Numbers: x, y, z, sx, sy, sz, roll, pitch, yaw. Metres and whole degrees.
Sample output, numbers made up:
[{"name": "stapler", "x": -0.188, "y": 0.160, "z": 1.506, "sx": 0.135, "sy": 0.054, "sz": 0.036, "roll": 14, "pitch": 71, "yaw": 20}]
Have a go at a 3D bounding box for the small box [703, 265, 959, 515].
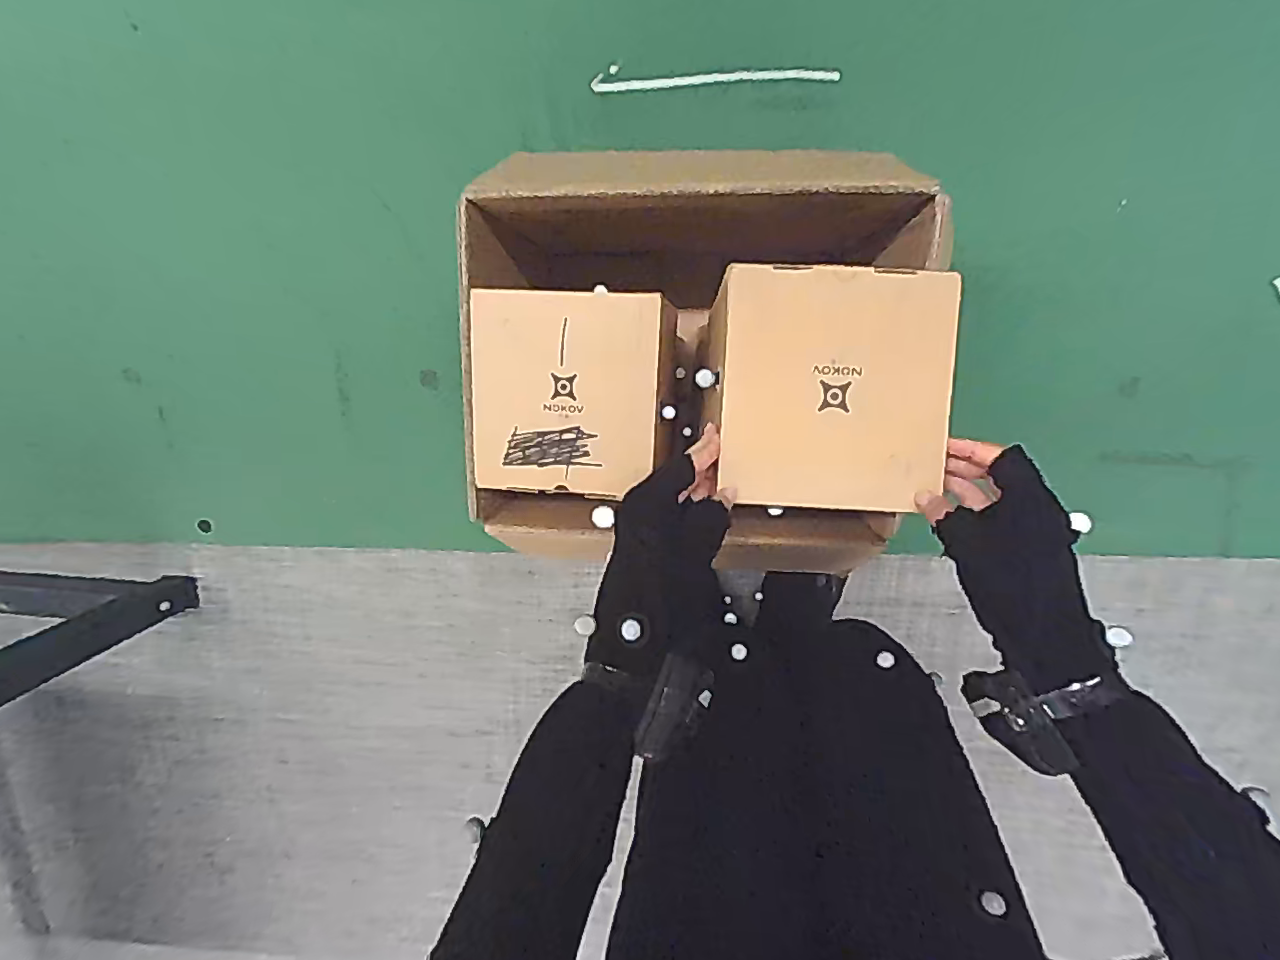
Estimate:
[{"name": "small box", "x": 0.145, "y": -0.070, "z": 0.471, "sx": 0.168, "sy": 0.176, "sz": 0.179, "roll": 3, "pitch": 93, "yaw": 3}]
